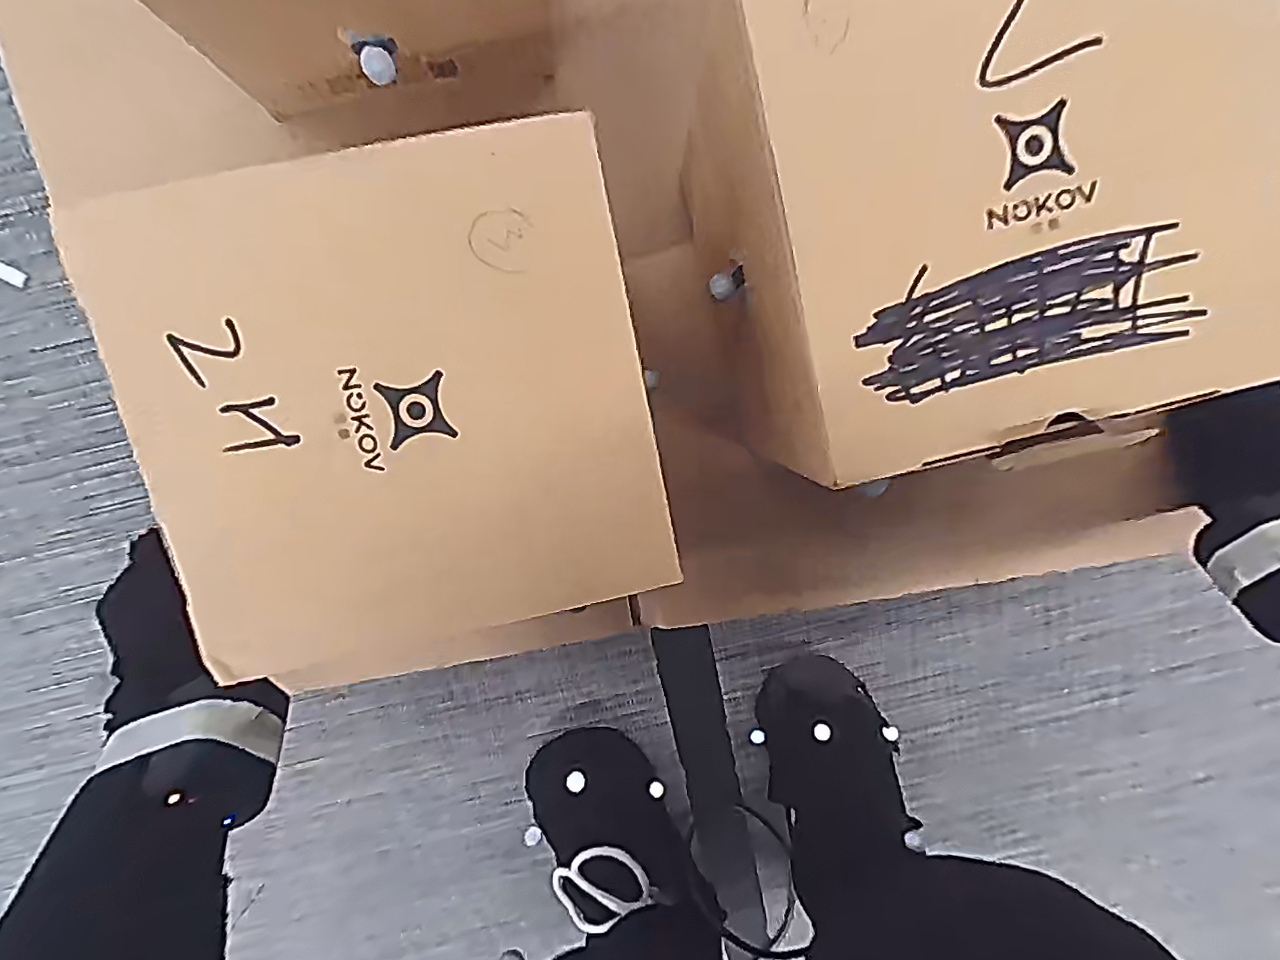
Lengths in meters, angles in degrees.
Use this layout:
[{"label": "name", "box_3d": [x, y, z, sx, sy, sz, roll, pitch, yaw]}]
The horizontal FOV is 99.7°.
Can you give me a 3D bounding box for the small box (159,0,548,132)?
[{"label": "small box", "box_3d": [-0.140, -0.289, 0.229, 0.168, 0.176, 0.179, -12, 101, -3]}]
